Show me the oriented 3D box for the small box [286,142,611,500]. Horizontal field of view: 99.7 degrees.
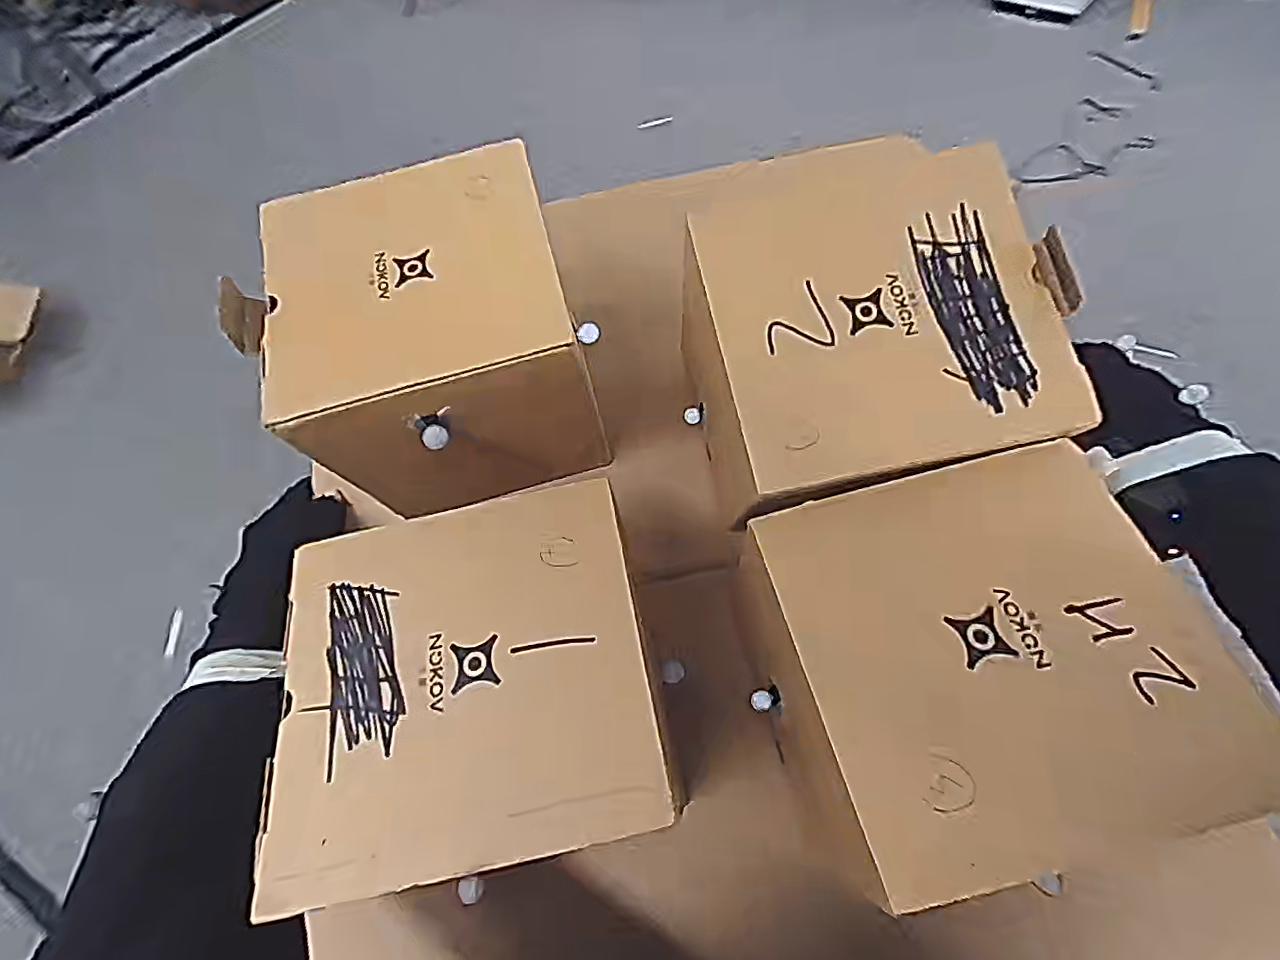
[{"bbox_3d":[-0.124,-0.101,0.404,0.179,0.176,0.168,-15,68,1],"label":"small box"}]
